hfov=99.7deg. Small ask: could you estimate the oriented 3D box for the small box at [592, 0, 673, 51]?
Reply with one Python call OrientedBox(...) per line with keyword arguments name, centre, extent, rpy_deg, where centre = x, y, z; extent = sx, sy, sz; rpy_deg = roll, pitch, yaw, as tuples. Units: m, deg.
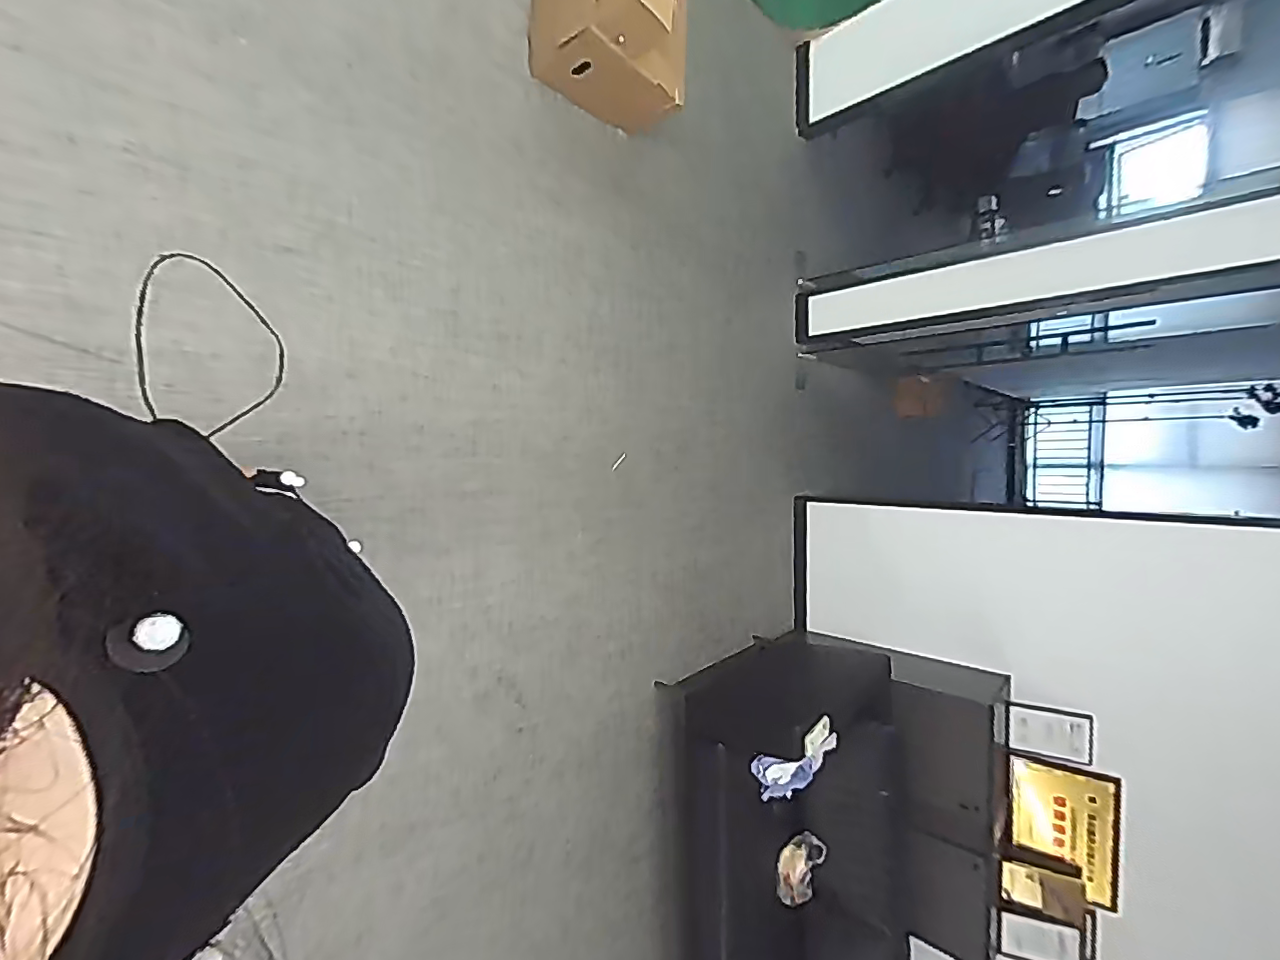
OrientedBox(name="small box", centre=(-0.019, -1.425, 1.601), extent=(0.179, 0.176, 0.168), rpy_deg=(4, 89, -48))
